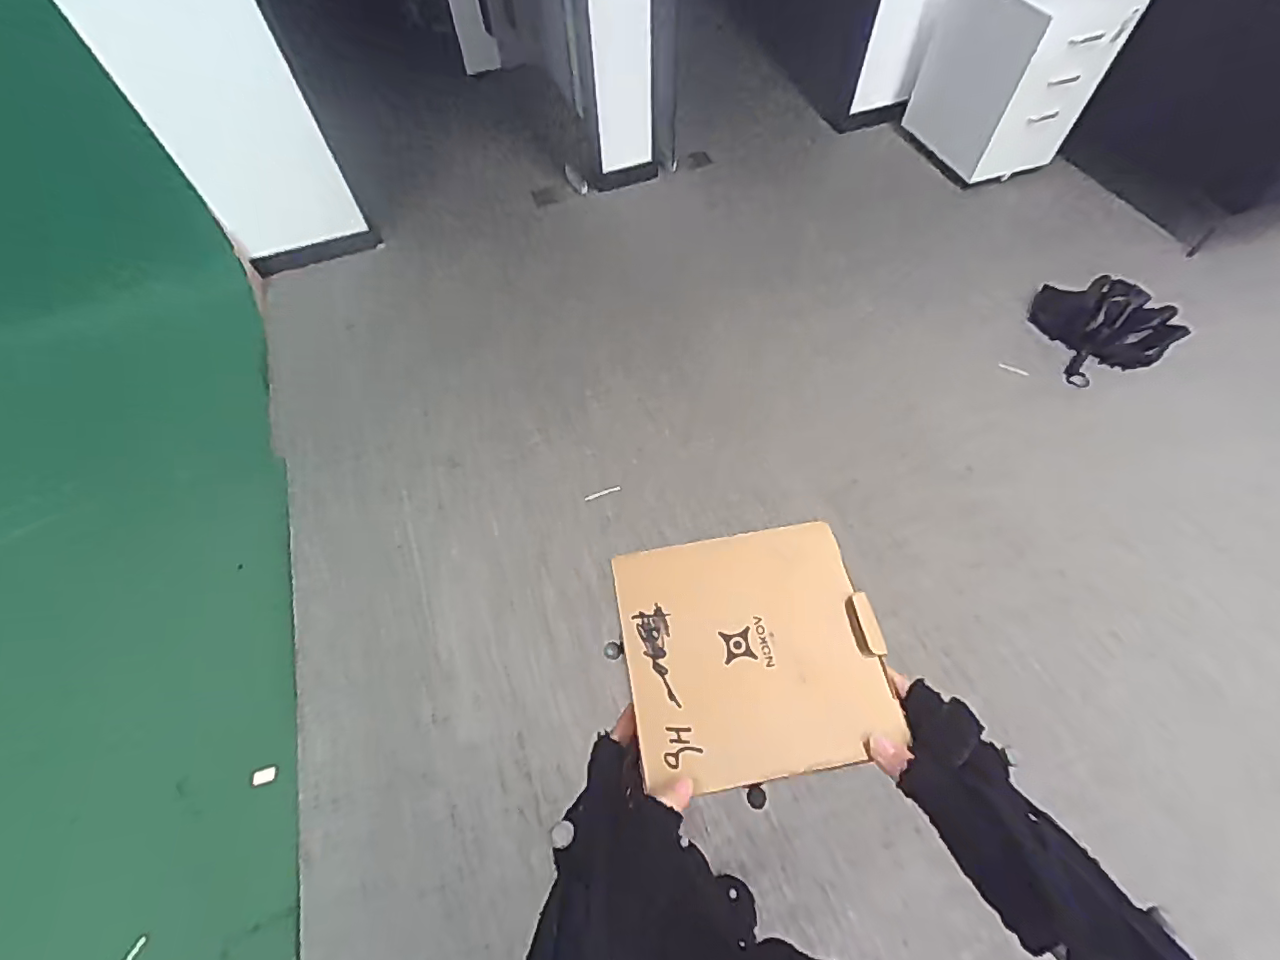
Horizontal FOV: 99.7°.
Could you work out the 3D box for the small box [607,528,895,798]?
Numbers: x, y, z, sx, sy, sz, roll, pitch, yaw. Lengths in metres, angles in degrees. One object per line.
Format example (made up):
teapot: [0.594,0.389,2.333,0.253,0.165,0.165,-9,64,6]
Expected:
small box: [0.070,0.157,0.449,0.179,0.176,0.168,-7,59,-4]
